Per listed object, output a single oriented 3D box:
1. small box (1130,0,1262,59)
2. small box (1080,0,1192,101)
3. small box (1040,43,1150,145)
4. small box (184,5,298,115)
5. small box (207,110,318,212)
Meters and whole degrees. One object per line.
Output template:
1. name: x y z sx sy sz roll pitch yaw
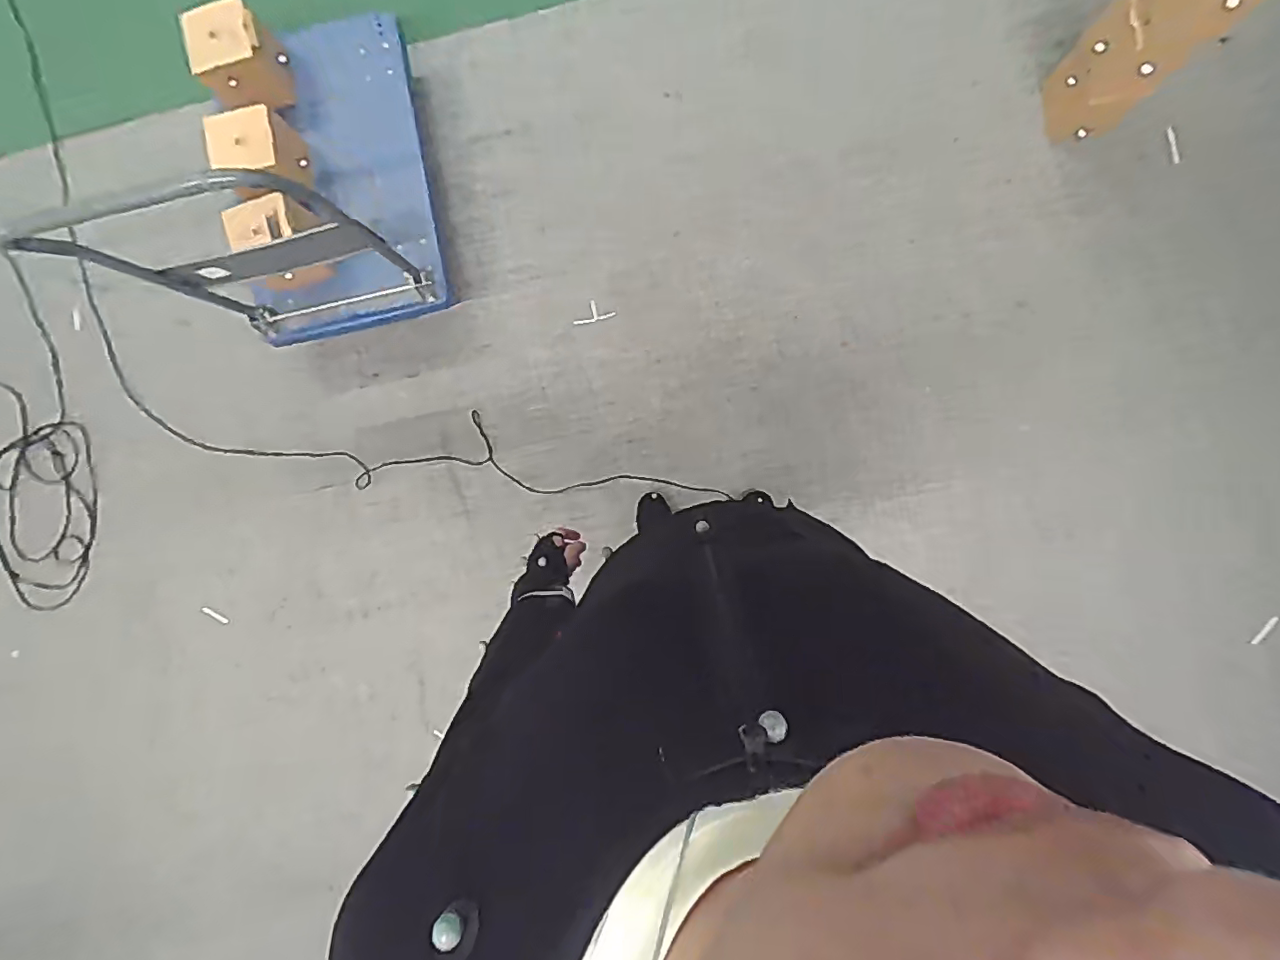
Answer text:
1. small box: 1.238 -1.082 1.197 0.179 0.176 0.168 -8 89 4
2. small box: 1.240 -1.088 1.346 0.179 0.176 0.168 -7 89 6
3. small box: 1.258 -1.080 1.508 0.168 0.176 0.179 -6 89 5
4. small box: -1.090 -1.139 1.489 0.179 0.176 0.168 -12 90 3
5. small box: -1.030 -0.866 1.486 0.179 0.176 0.168 -11 88 3
